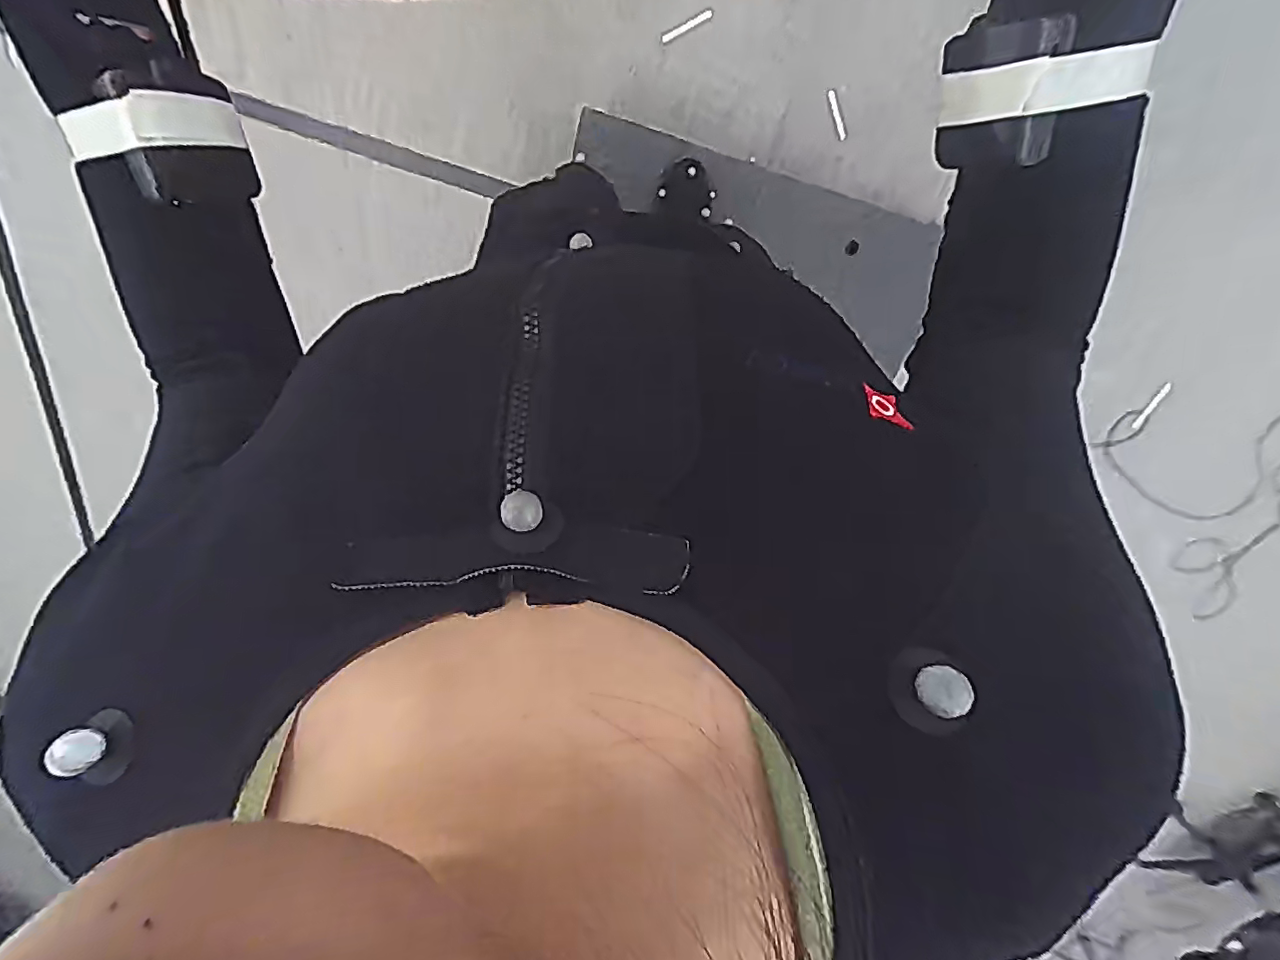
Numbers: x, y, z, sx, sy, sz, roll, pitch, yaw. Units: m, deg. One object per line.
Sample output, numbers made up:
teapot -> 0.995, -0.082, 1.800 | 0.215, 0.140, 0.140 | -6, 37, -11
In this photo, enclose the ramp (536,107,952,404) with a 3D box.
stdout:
ramp -> 0.270, -0.516, 1.386 | 0.991, 0.206, 0.509 | 14, 118, -4
